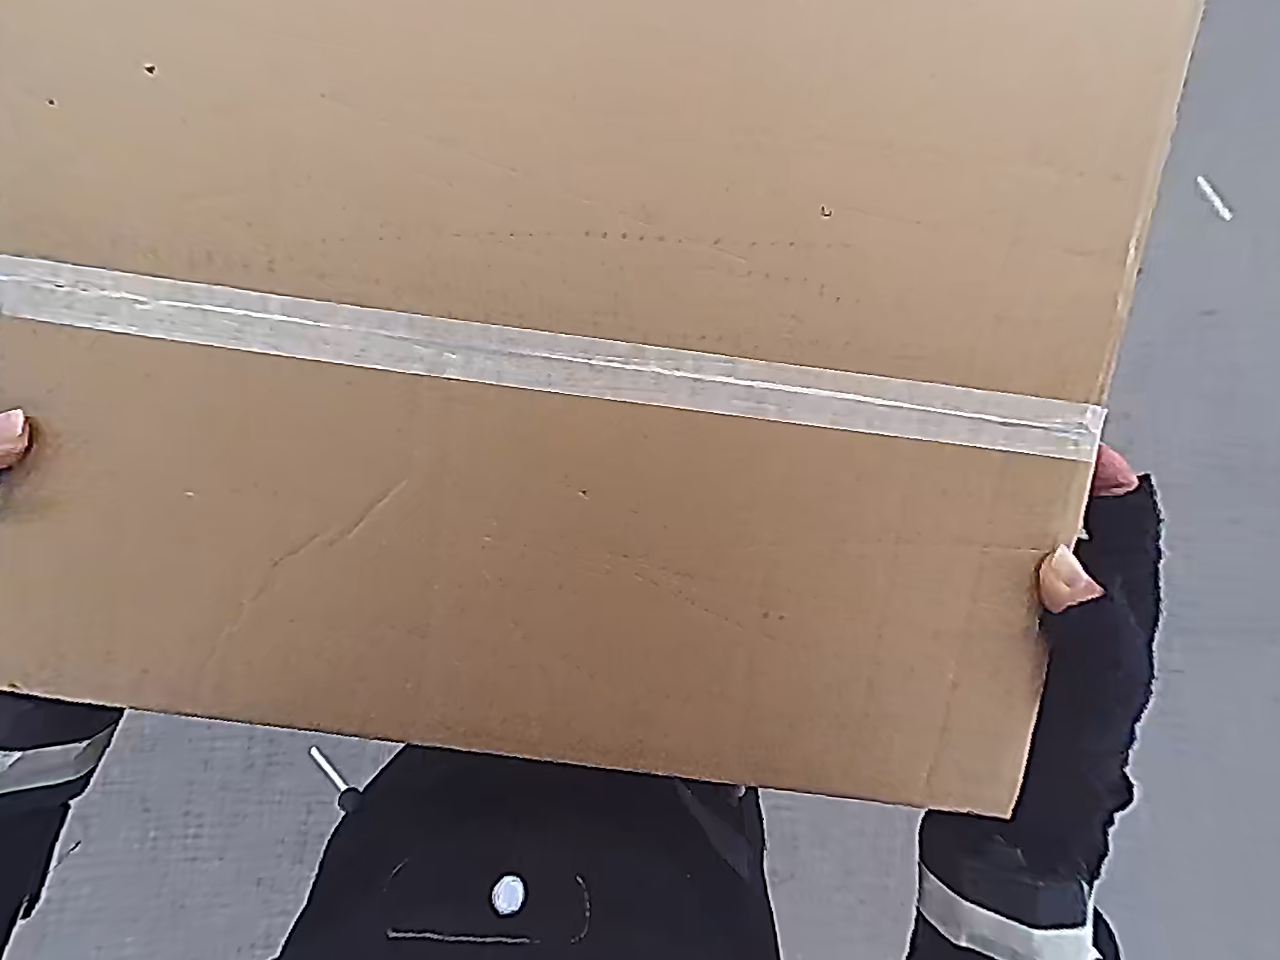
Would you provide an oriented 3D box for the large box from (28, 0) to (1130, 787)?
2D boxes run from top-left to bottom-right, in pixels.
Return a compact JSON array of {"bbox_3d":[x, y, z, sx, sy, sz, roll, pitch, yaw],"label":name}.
[{"bbox_3d":[-0.033,-0.057,0.360,0.408,0.320,0.320,8,96,-1],"label":"large box"}]
